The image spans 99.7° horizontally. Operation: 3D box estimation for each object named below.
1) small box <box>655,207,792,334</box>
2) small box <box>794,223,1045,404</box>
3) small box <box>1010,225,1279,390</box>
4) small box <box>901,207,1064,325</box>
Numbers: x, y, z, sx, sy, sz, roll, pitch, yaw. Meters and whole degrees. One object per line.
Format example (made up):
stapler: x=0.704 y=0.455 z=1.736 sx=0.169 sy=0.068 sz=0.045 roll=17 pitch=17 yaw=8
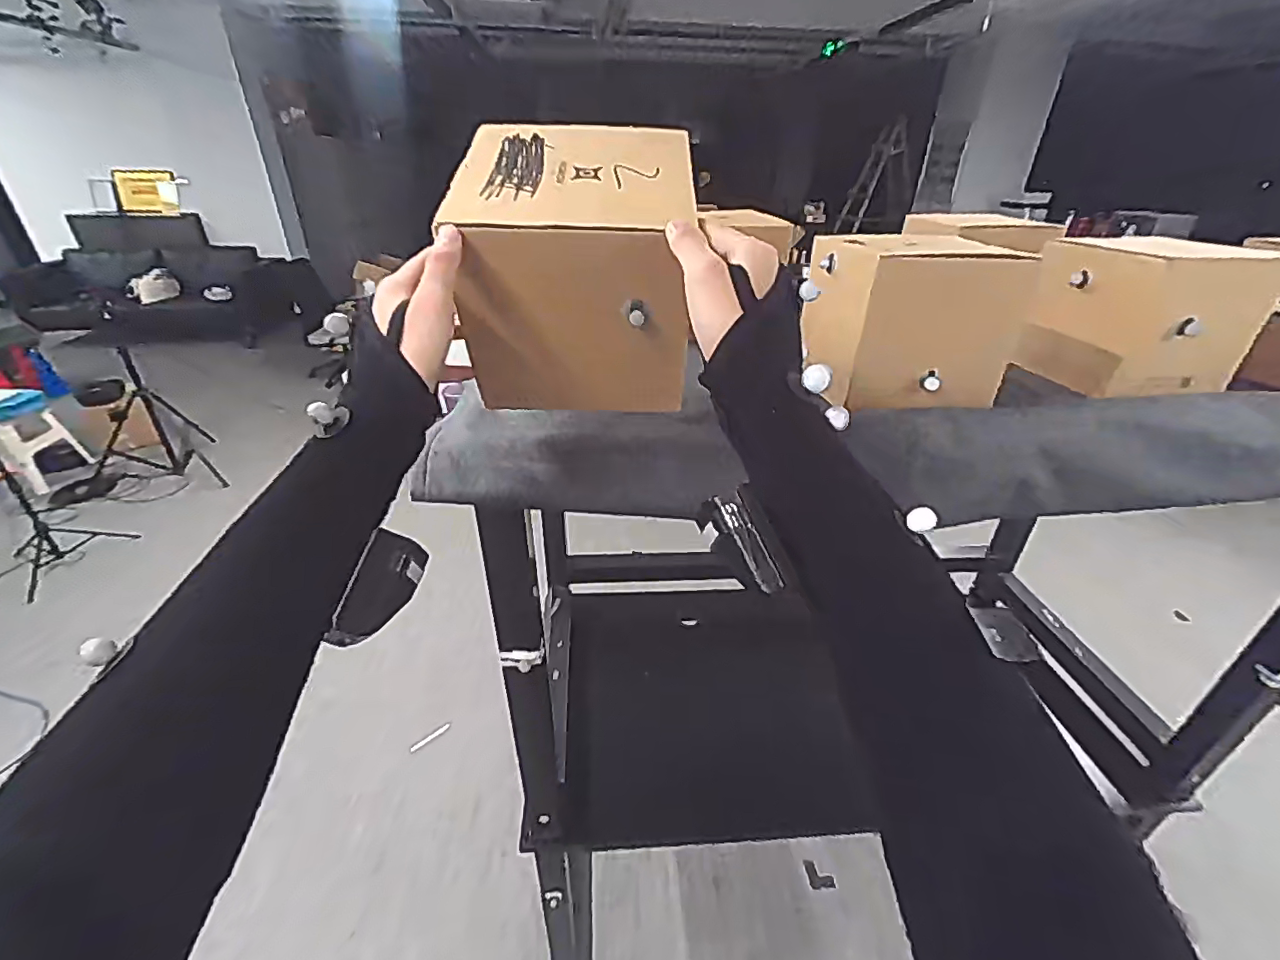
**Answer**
small box: x=0.120 y=-0.337 z=0.863 sx=0.168 sy=0.176 sz=0.179 roll=-6 pitch=31 yaw=-10
small box: x=0.297 y=-0.192 z=0.622 sx=0.179 sy=0.176 sz=0.168 roll=-1 pitch=29 yaw=-6
small box: x=0.617 y=-0.216 z=0.675 sx=0.168 sy=0.176 sz=0.179 roll=-3 pitch=30 yaw=-6
small box: x=0.550 y=-0.361 z=0.915 sx=0.179 sy=0.176 sz=0.168 roll=-2 pitch=31 yaw=-4
